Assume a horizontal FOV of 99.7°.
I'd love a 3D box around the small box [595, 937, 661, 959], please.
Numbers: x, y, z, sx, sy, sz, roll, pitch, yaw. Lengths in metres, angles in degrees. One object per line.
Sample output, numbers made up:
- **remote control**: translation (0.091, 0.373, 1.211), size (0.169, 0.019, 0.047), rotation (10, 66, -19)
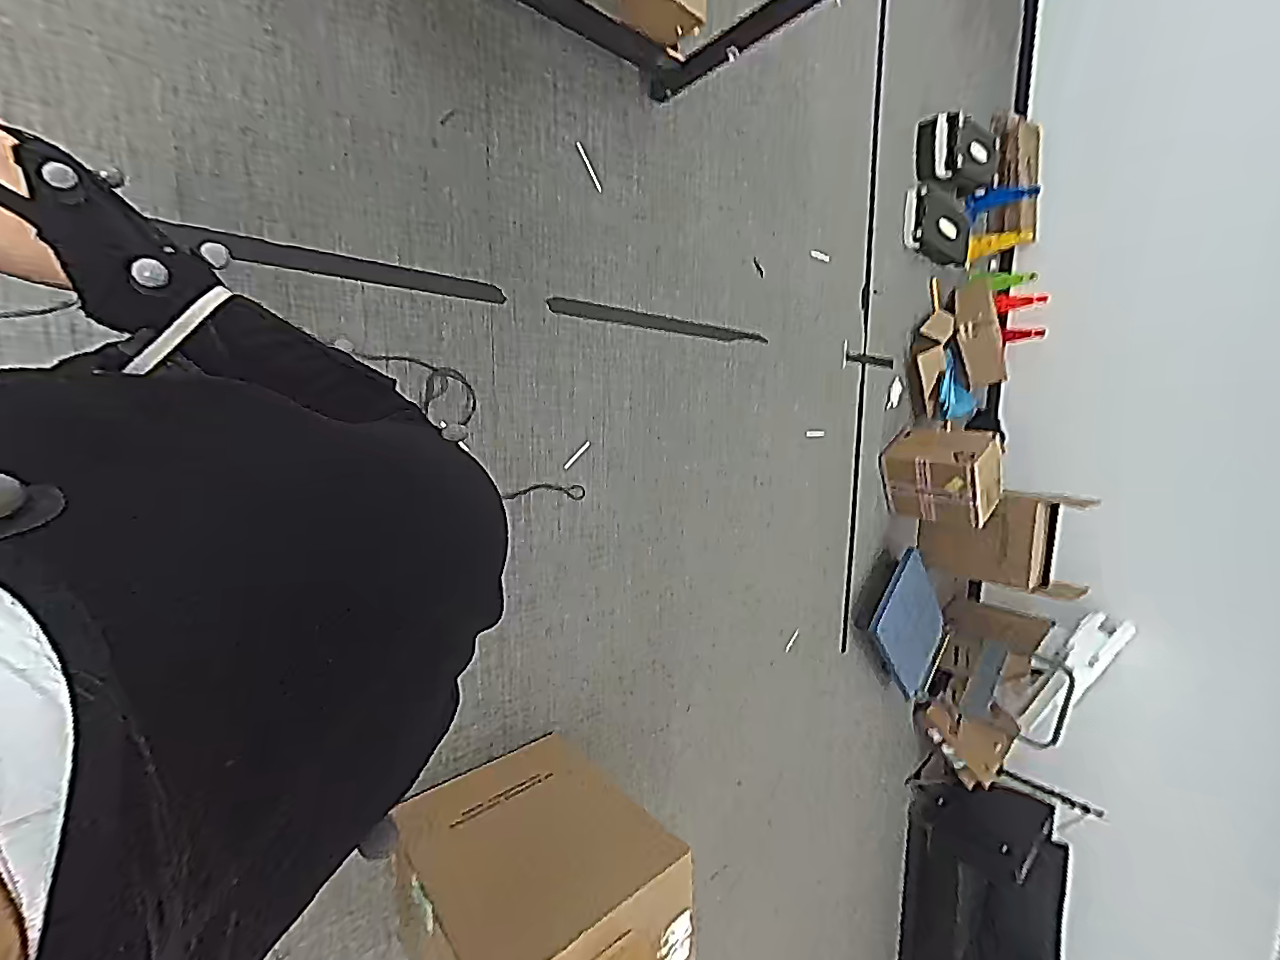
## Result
- **small box**: translation (-0.025, 1.066, 1.069), size (0.168, 0.176, 0.179), rotation (-5, 100, -42)
